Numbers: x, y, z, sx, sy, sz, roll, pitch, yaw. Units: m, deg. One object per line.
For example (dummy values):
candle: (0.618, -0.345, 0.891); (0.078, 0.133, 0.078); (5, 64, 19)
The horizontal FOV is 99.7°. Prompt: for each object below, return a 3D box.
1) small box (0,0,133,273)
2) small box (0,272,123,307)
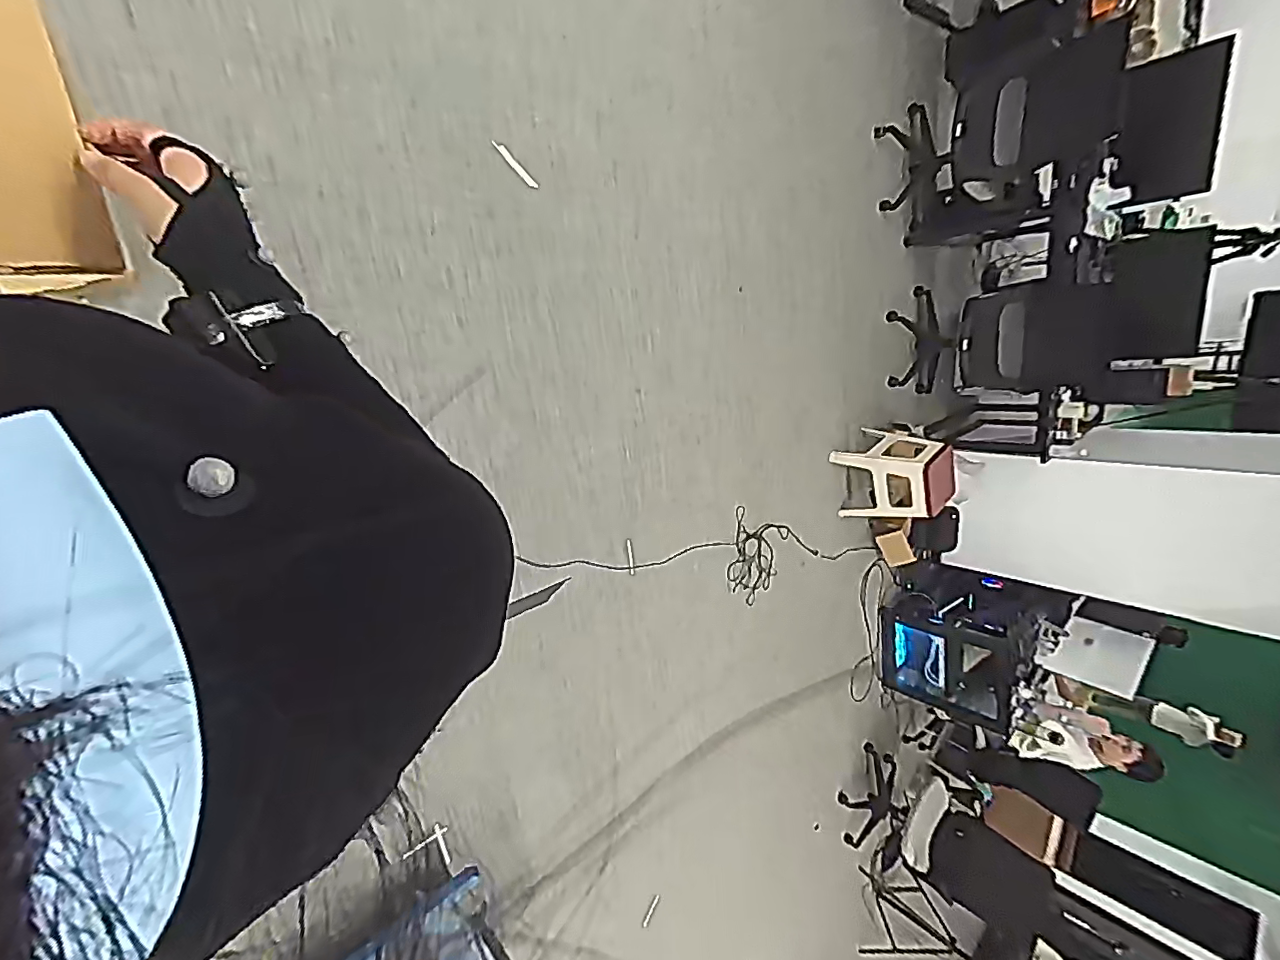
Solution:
small box: (-0.509, -0.246, 0.395); (0.168, 0.176, 0.179); (-18, 118, -38)
small box: (-1.055, -0.418, 0.942); (0.168, 0.176, 0.179); (-32, 117, -32)
